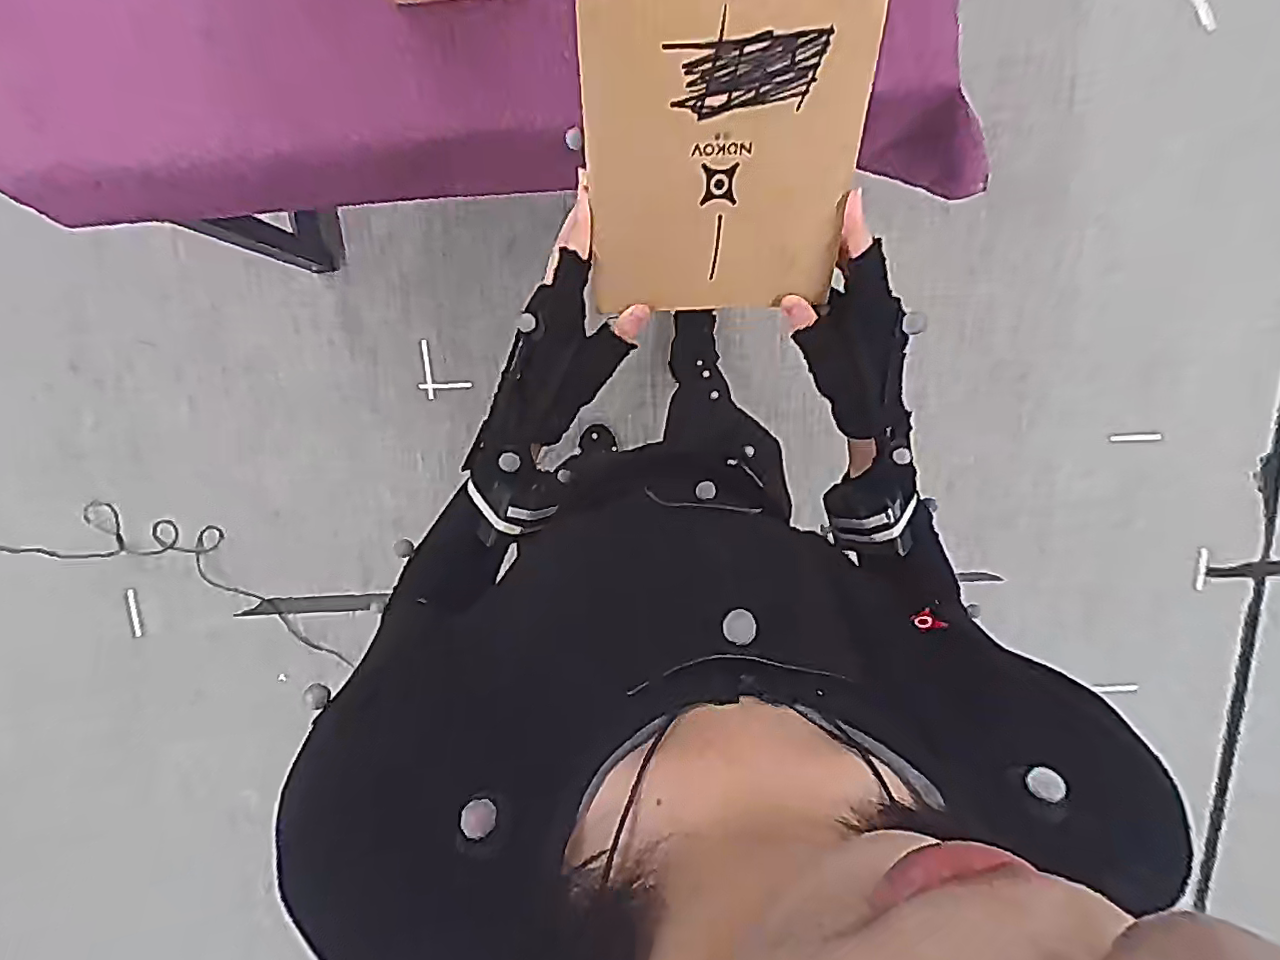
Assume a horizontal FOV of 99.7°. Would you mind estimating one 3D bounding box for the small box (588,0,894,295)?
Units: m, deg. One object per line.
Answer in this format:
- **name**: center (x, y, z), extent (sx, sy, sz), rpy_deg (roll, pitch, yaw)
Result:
- **small box**: center (0.049, -0.246, 0.387), extent (0.168, 0.176, 0.179), rpy_deg (-3, 127, -3)
